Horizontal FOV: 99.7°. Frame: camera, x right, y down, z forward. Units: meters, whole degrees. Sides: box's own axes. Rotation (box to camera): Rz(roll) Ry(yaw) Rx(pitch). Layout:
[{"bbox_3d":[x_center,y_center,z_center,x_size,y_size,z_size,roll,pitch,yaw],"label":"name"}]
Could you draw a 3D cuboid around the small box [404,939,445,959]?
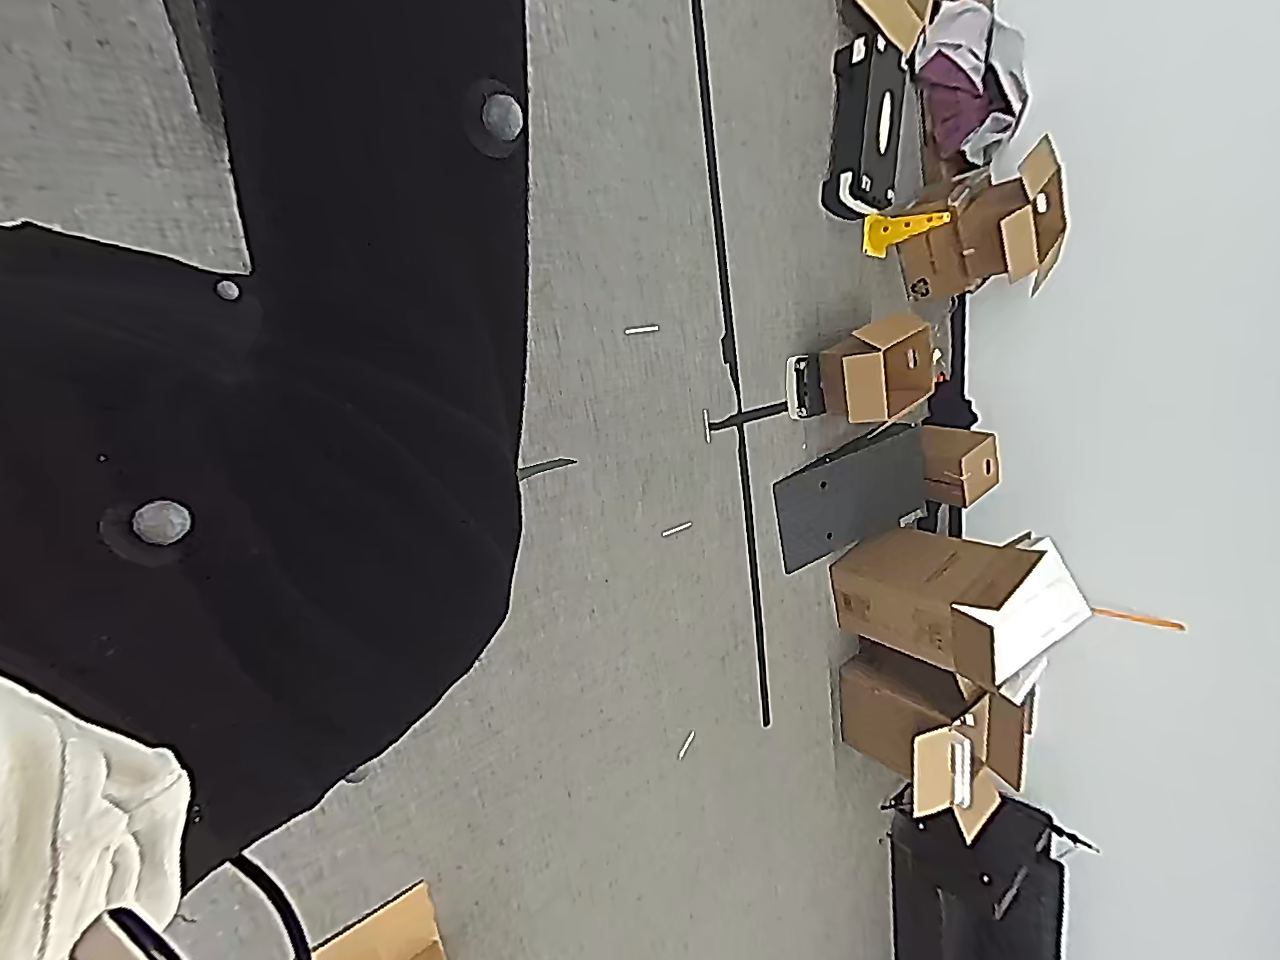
[{"bbox_3d":[-0.696,1.637,1.716,0.179,0.176,0.168,-17,108,-35],"label":"small box"}]
